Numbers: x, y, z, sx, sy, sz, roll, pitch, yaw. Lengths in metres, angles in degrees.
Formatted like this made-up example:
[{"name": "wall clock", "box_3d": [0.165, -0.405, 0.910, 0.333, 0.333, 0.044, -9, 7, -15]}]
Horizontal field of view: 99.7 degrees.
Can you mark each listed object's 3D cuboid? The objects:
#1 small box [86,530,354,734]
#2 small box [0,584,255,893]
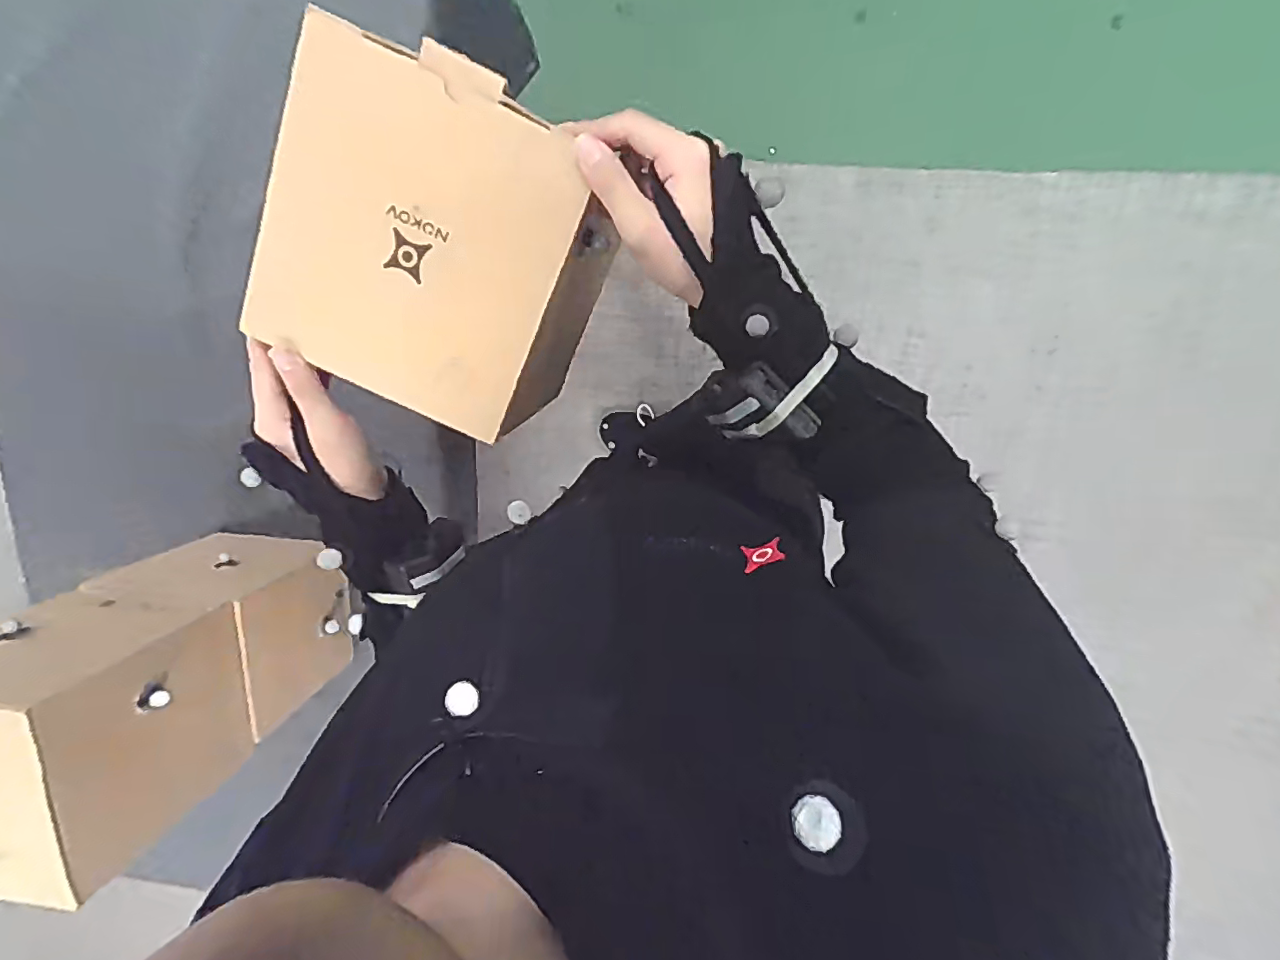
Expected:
[{"name": "small box", "box_3d": [-0.468, 0.164, 0.631, 0.179, 0.176, 0.168, 5, 104, 4]}, {"name": "small box", "box_3d": [-0.484, 0.206, 0.475, 0.168, 0.176, 0.179, 3, 104, 6]}]
